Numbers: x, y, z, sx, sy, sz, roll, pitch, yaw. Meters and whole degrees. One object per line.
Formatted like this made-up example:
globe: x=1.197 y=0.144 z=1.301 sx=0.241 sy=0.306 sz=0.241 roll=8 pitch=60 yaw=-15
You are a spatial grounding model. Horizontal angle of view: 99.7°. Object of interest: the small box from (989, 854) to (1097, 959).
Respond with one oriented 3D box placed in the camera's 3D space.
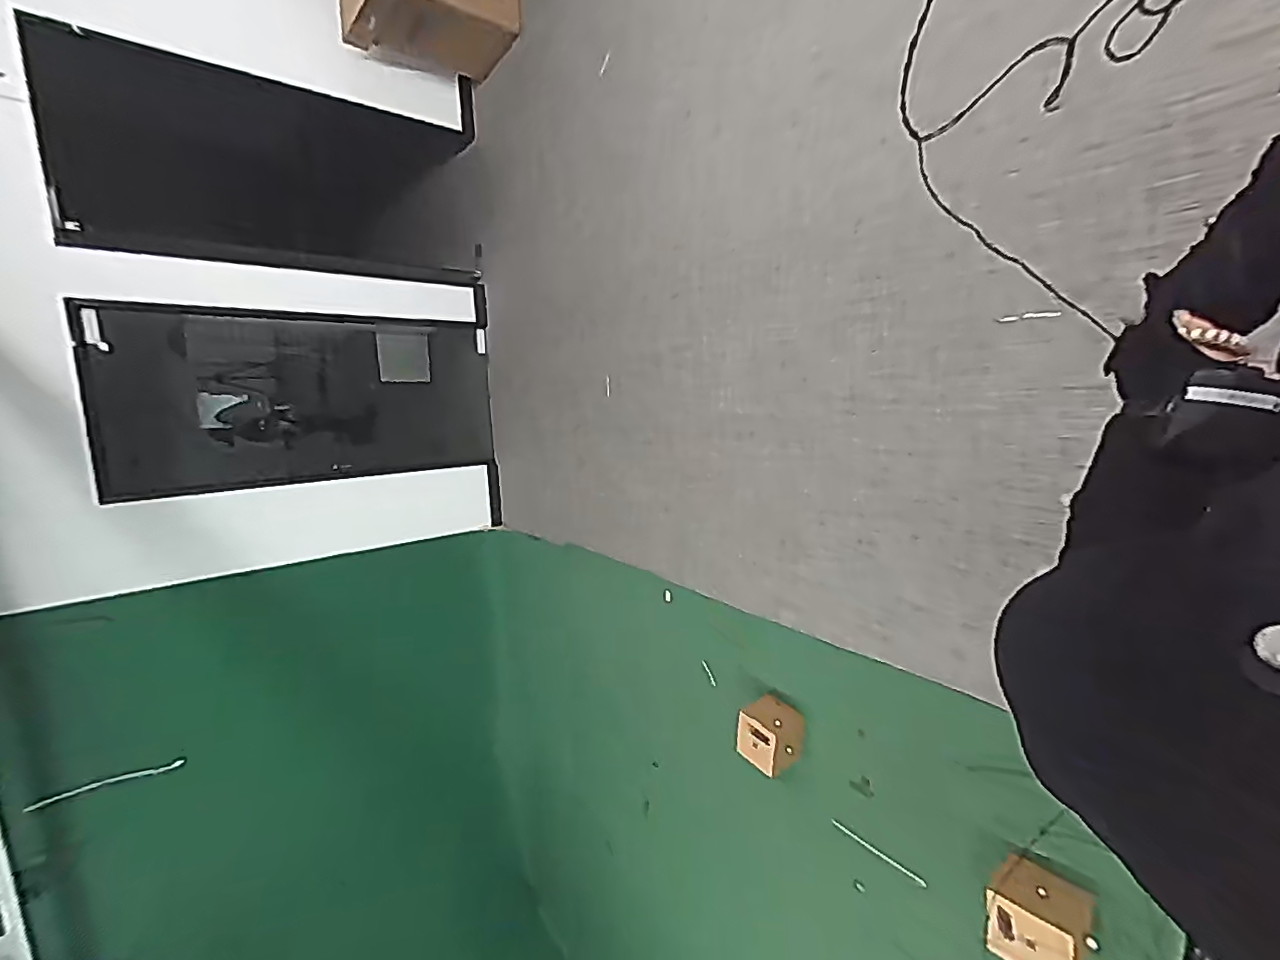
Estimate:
small box: x=0.988 y=1.069 z=1.328 sx=0.179 sy=0.176 sz=0.168 roll=5 pitch=101 yaw=51
